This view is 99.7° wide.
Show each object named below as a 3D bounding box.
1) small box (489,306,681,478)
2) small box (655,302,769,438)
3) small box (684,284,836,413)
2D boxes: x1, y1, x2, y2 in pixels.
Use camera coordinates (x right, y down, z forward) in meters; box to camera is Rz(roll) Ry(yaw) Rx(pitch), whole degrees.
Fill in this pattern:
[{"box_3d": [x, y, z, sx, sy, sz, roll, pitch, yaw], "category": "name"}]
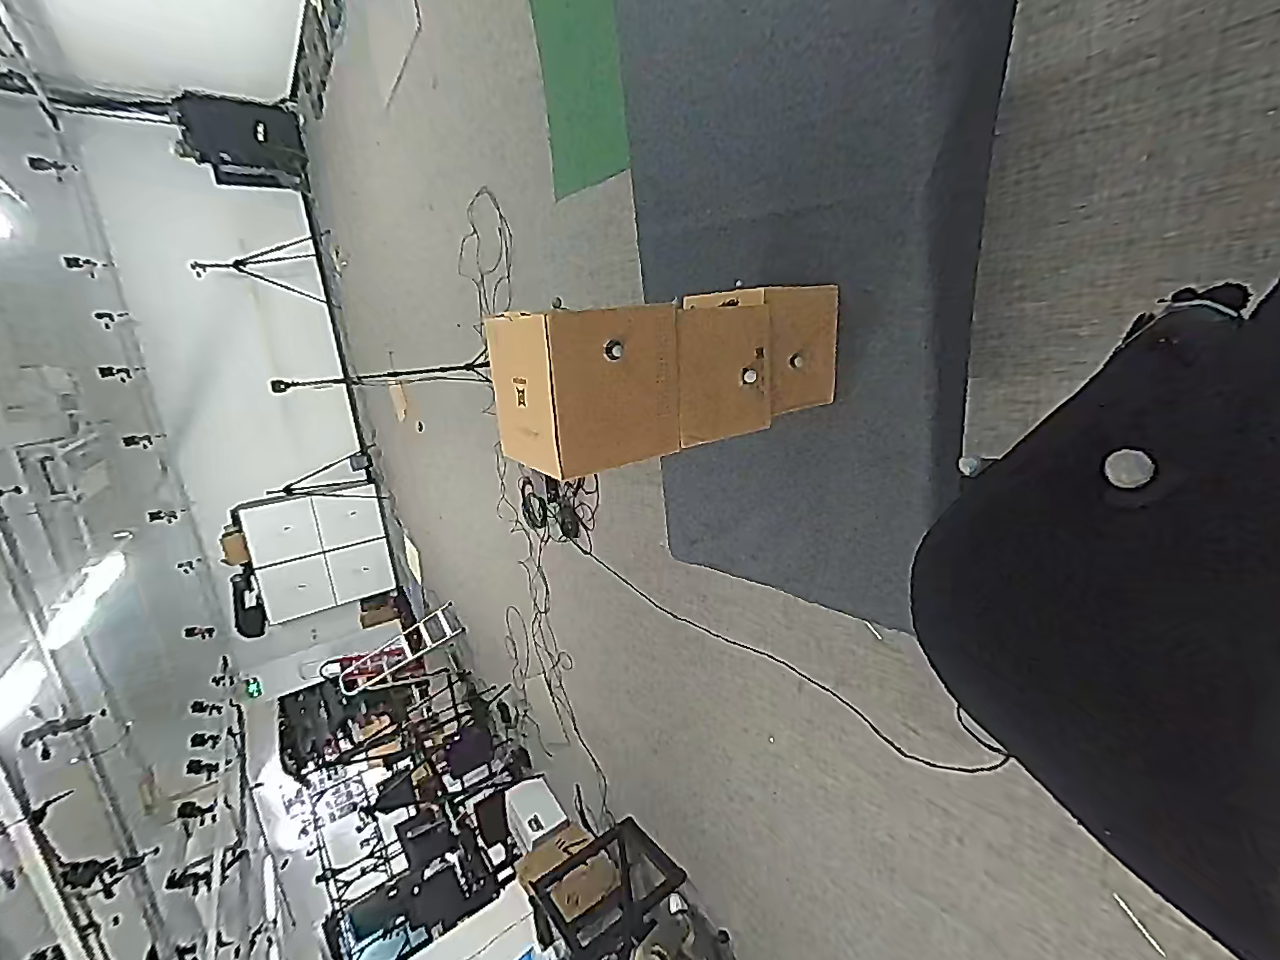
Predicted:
[{"box_3d": [-0.065, -0.120, 0.667, 0.168, 0.176, 0.179, 21, 121, 53], "category": "small box"}, {"box_3d": [0.060, -0.155, 0.764, 0.179, 0.176, 0.168, 13, 113, 55], "category": "small box"}, {"box_3d": [0.189, -0.208, 0.852, 0.168, 0.176, 0.179, 18, 118, 52], "category": "small box"}]
